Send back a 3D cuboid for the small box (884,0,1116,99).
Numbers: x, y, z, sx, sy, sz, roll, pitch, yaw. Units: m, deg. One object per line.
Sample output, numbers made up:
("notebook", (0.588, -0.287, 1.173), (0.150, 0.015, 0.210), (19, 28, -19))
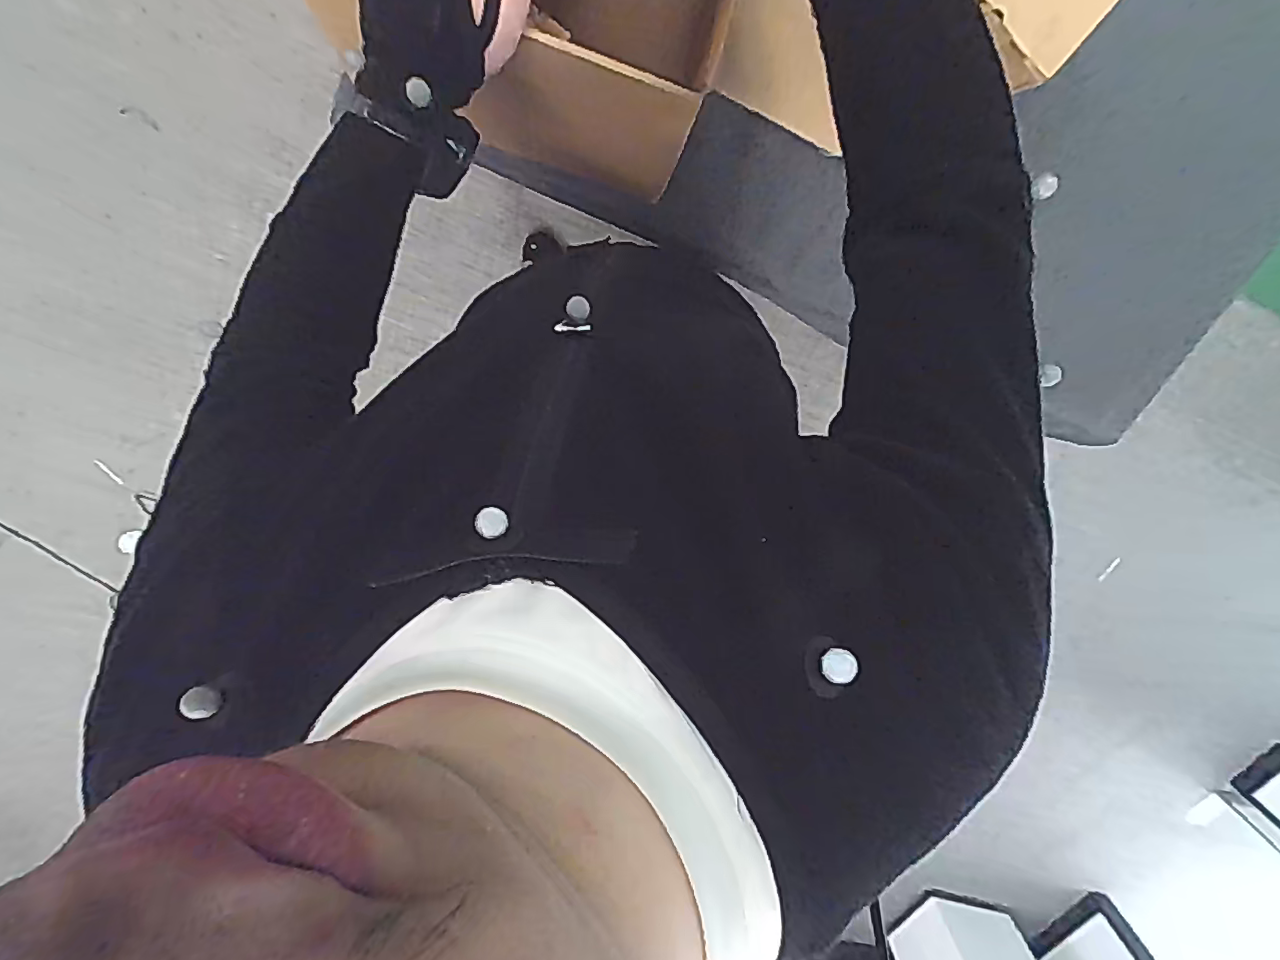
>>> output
("small box", (0.382, -0.534, 0.549), (0.168, 0.176, 0.179), (33, 109, -19))
